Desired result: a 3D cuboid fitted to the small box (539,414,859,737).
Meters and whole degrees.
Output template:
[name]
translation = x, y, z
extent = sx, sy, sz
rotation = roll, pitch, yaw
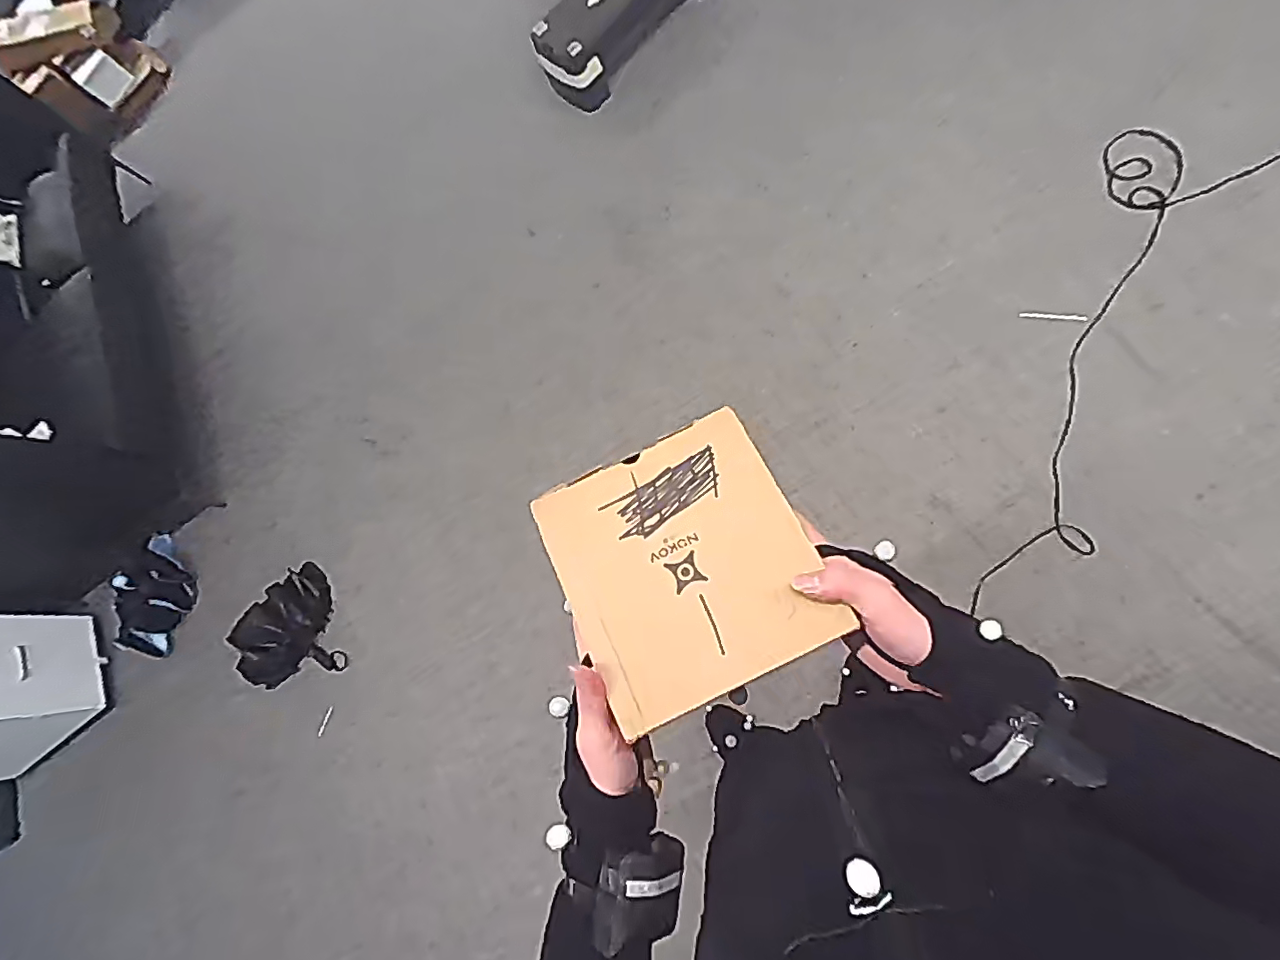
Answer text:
[small box]
translation = 0.043, 0.082, 0.443
extent = 0.168, 0.176, 0.179
rotation = -26, 70, 0
